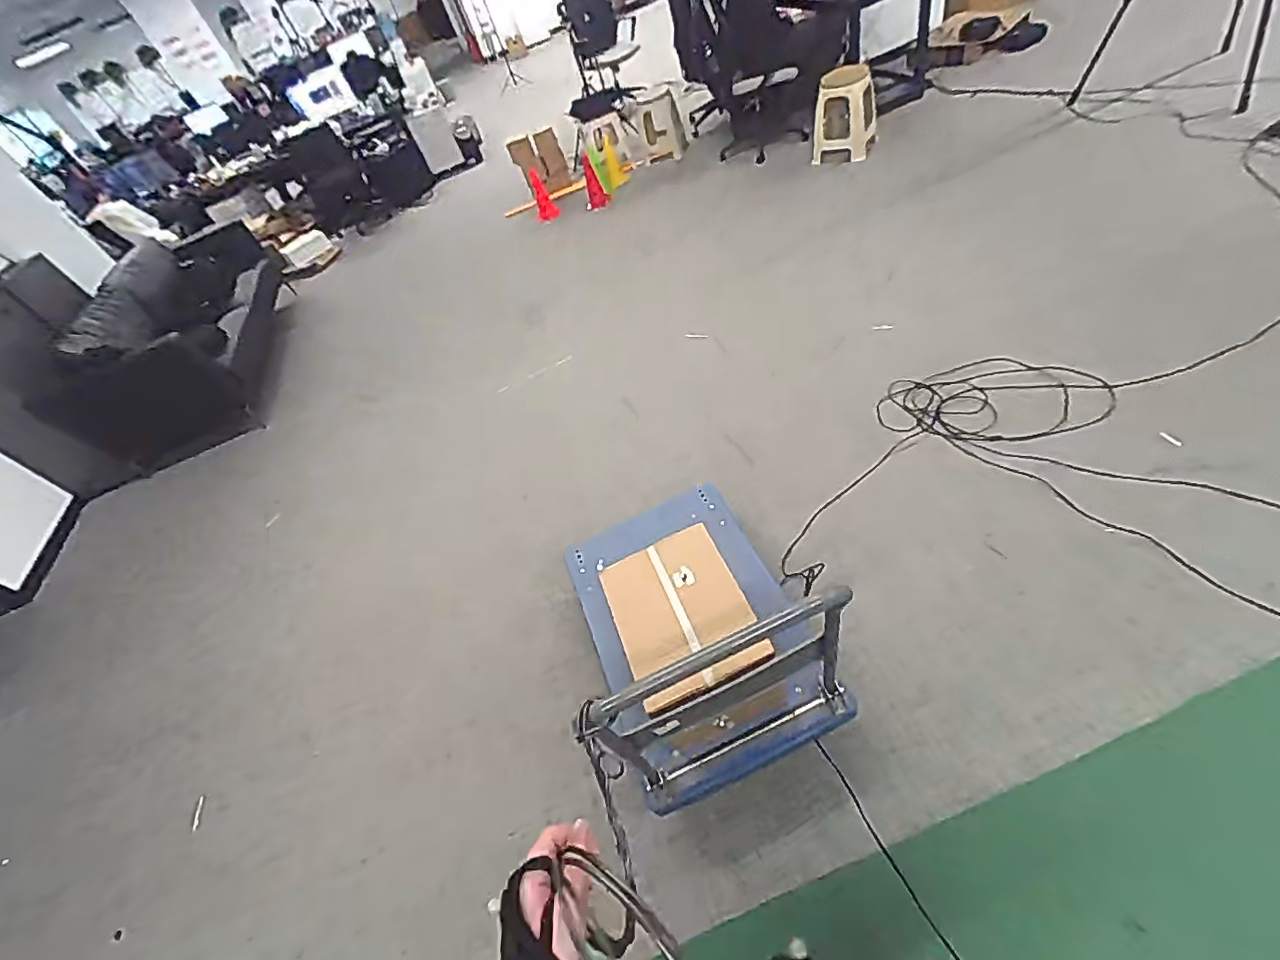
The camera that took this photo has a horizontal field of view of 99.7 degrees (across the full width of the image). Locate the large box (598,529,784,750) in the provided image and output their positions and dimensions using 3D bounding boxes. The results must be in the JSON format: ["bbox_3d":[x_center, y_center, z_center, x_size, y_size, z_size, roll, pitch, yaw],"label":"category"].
[{"bbox_3d":[0.132,0.414,1.422,0.320,0.320,0.408,-25,45,-2],"label":"large box"}]
